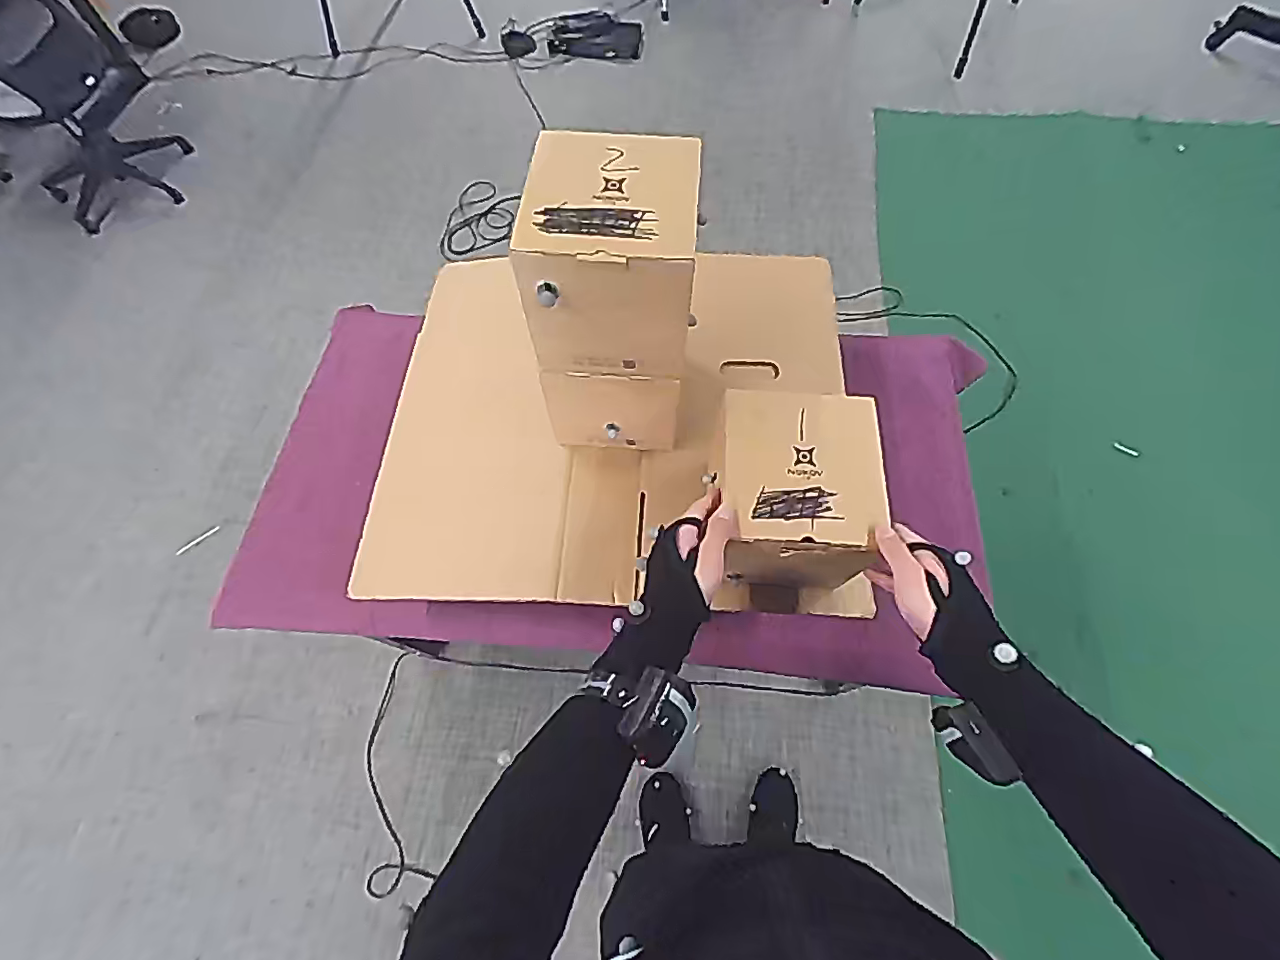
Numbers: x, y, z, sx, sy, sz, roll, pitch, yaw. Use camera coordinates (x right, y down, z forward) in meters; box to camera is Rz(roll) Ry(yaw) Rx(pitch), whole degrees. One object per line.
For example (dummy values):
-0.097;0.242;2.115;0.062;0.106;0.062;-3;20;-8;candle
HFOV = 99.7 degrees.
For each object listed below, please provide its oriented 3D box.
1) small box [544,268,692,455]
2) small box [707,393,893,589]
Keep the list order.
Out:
-0.023;-0.153;0.724;0.168;0.176;0.179;4;65;2;small box
0.170;0.021;0.627;0.168;0.176;0.179;4;65;2;small box
